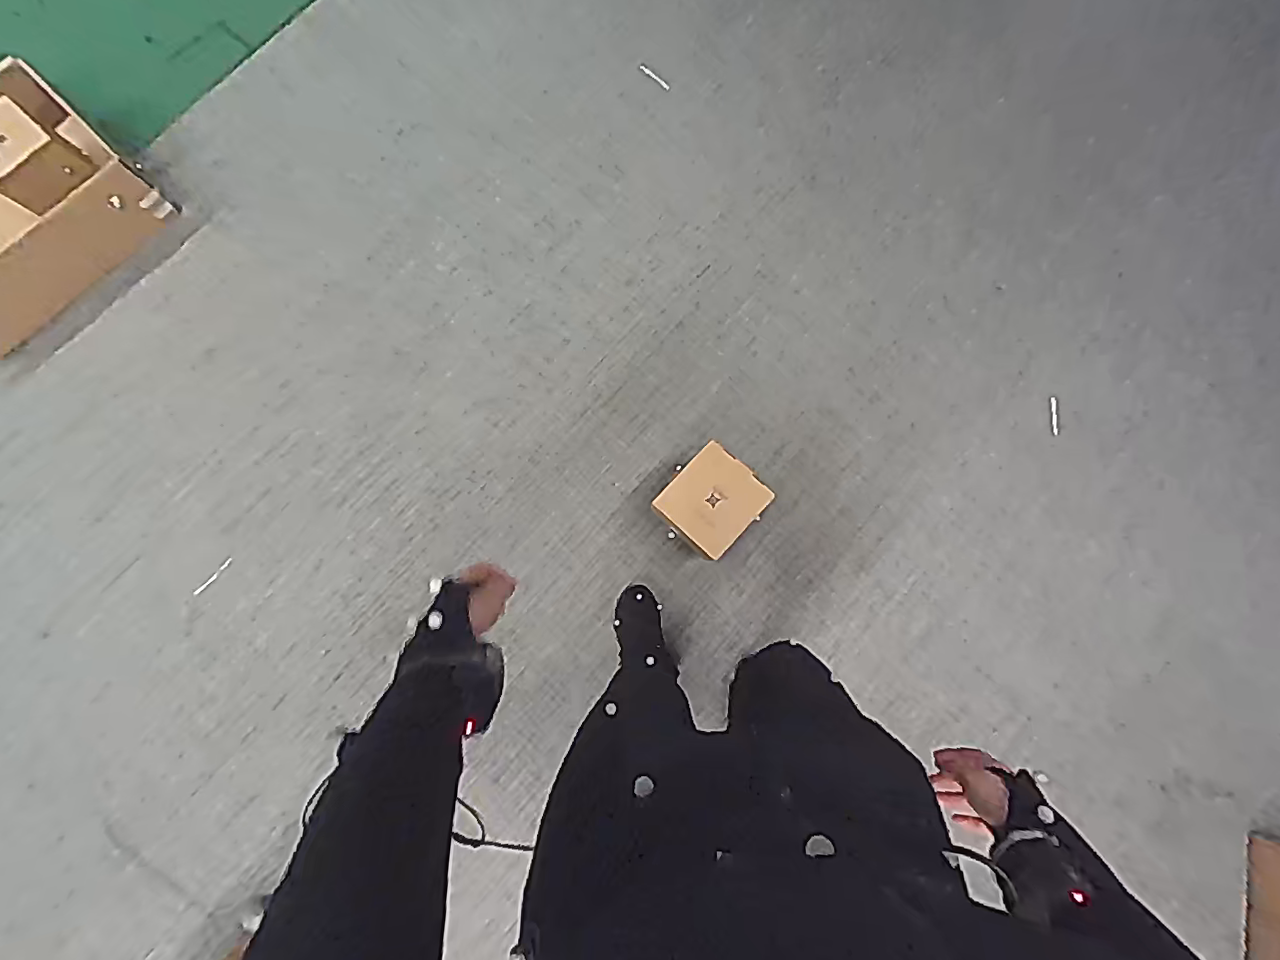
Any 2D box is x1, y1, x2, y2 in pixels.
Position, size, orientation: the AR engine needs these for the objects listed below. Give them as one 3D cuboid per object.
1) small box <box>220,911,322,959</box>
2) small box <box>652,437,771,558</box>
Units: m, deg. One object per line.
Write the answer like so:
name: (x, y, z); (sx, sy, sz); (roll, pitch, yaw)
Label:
small box: (-0.802, 1.058, 1.117); (0.168, 0.176, 0.179); (34, 83, 5)
small box: (0.136, 0.042, 1.114); (0.168, 0.176, 0.179); (42, 84, 7)
